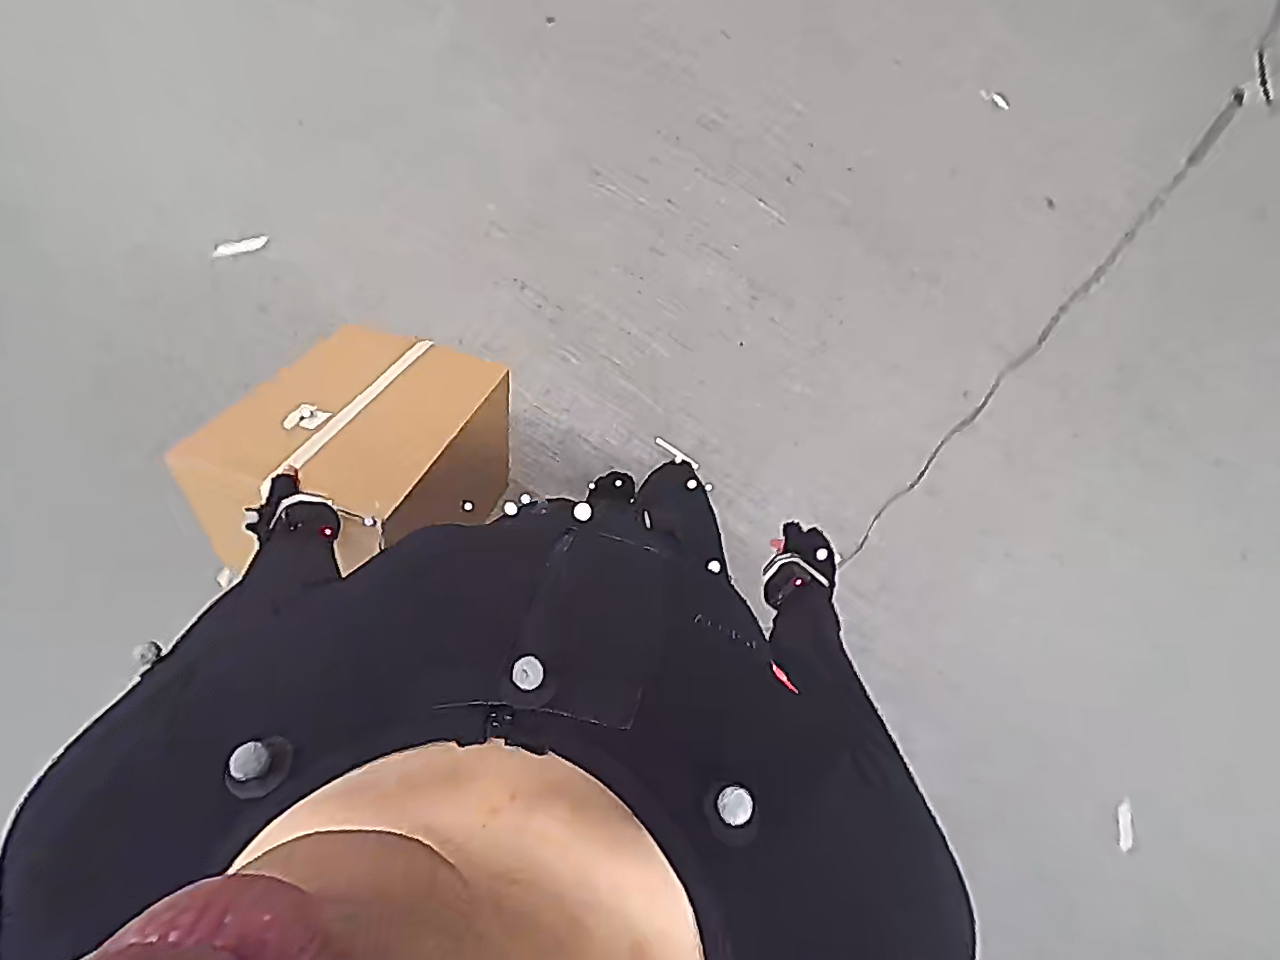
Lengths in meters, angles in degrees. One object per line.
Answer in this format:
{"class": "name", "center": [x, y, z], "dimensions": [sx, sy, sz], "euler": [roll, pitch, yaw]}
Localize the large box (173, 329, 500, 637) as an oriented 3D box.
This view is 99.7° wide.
{"class": "large box", "center": [-0.467, -0.004, 0.960], "dimensions": [0.320, 0.408, 0.320], "euler": [16, 134, 3]}
